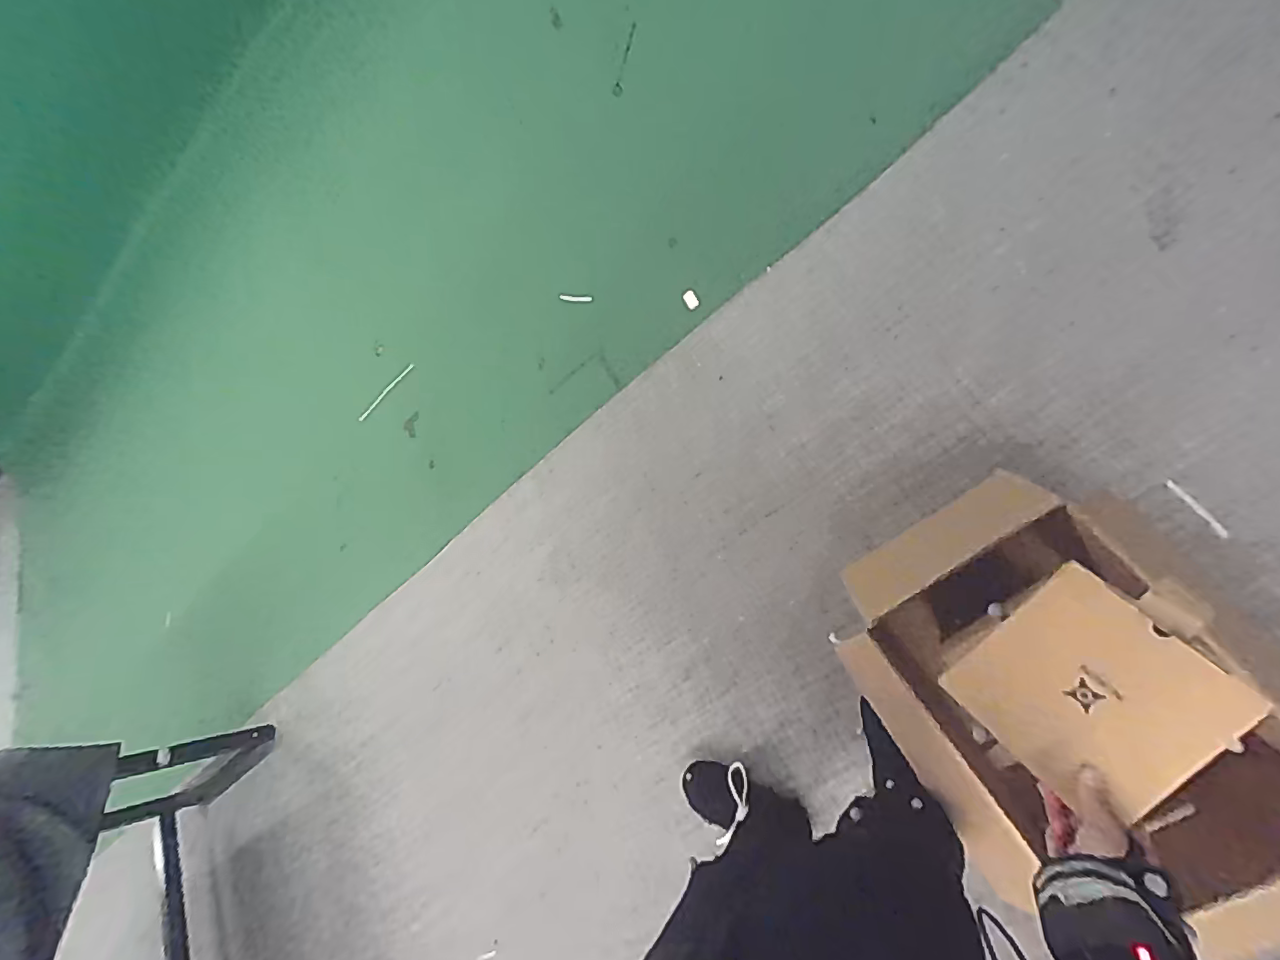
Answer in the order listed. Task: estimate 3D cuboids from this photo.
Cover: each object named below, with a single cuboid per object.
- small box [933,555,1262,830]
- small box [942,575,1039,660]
[{"bbox_3d":[0.430,0.209,0.548,0.179,0.176,0.168,-45,56,4],"label":"small box"},{"bbox_3d":[0.524,0.237,0.705,0.179,0.176,0.168,-43,65,18],"label":"small box"}]
